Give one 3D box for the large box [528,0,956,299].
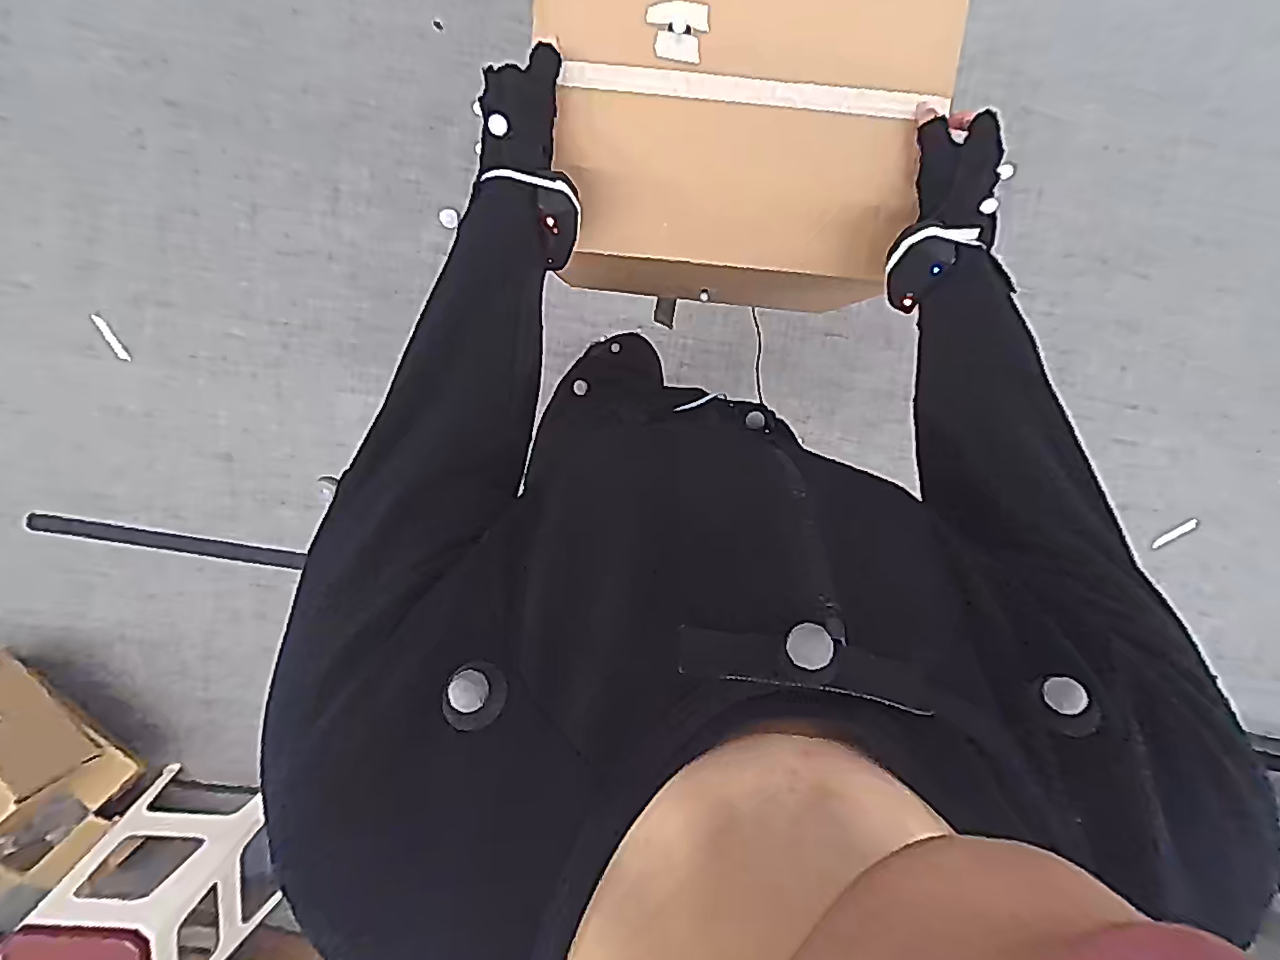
[{"bbox_3d":[0.098,-0.414,0.676,0.408,0.320,0.320,6,102,0],"label":"large box"}]
